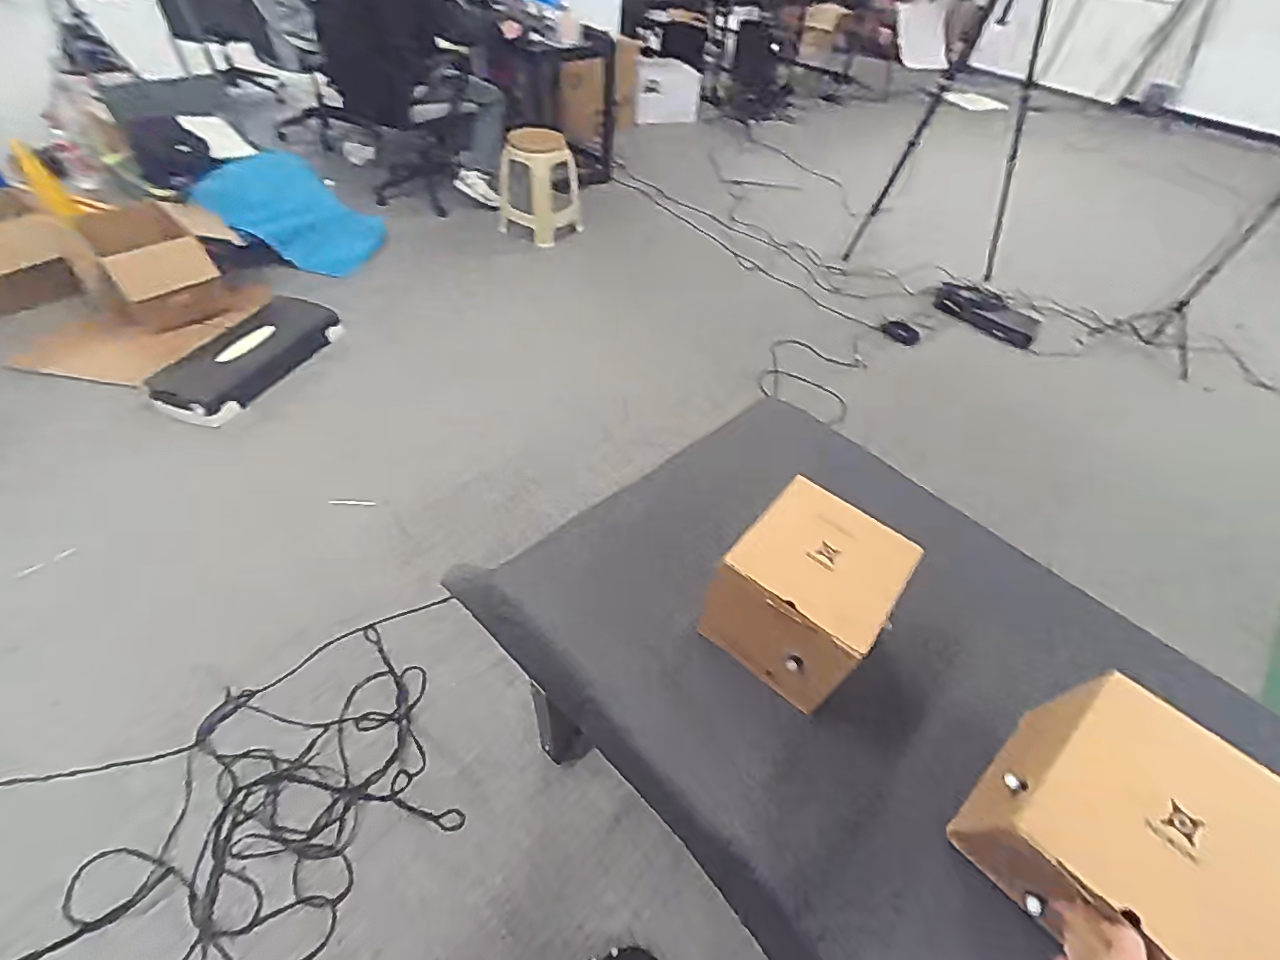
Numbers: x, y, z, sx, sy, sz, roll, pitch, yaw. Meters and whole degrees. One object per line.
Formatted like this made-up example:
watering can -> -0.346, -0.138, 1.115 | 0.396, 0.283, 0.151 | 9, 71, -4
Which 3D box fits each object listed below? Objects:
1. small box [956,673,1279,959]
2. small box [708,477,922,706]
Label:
small box -> 0.423, 0.311, 0.483 | 0.179, 0.176, 0.168 | -40, 60, -18
small box -> 0.199, 0.137, 0.656 | 0.168, 0.176, 0.179 | 34, 52, 21
